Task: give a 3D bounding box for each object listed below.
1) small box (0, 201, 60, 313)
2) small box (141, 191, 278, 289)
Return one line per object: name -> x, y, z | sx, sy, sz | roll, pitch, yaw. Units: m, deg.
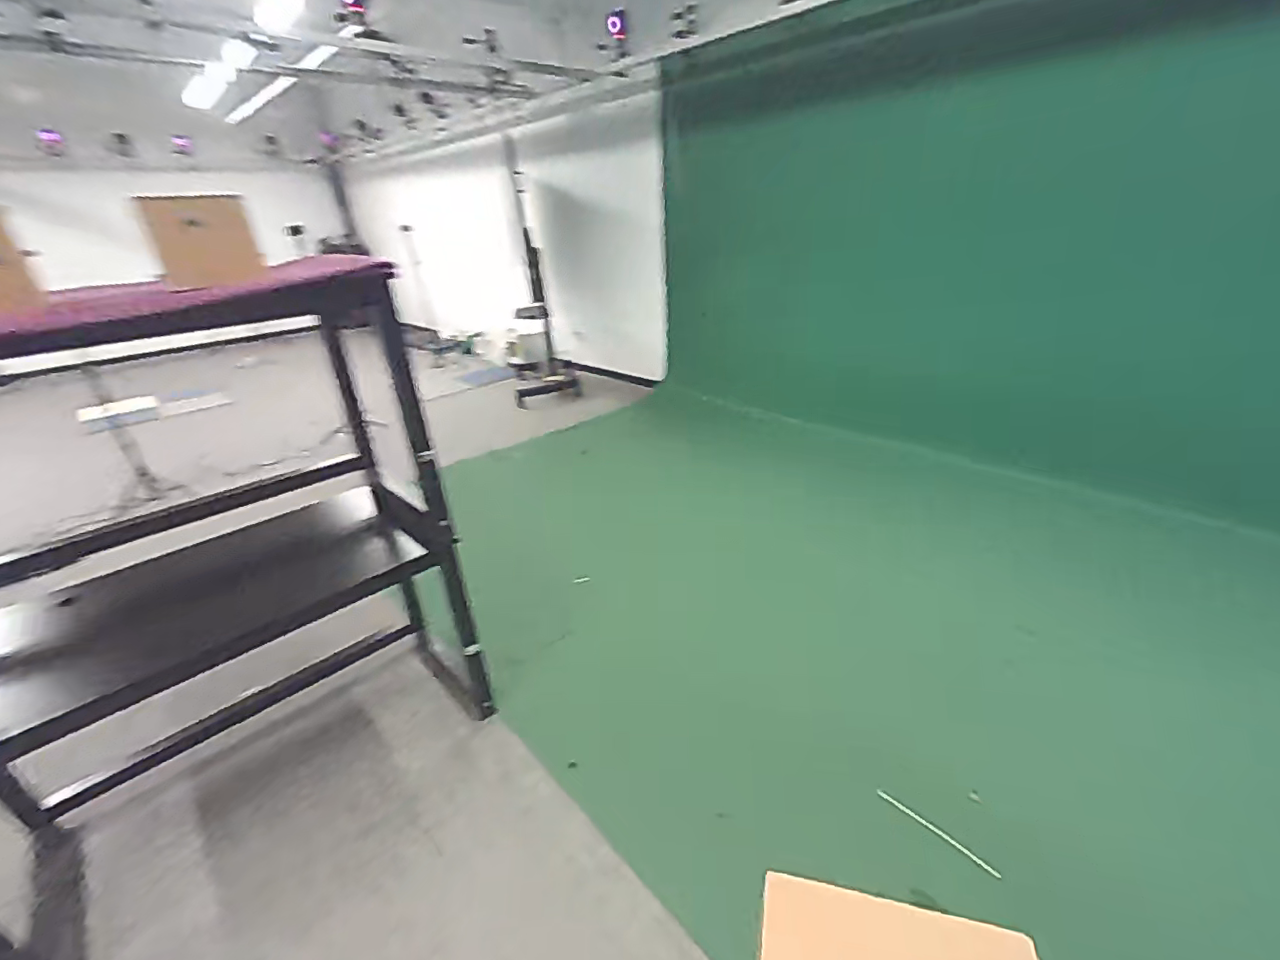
small box -> -1.137, -0.371, 0.914 | 0.179, 0.176, 0.168 | -27, 35, -37
small box -> -0.900, -0.500, 1.135 | 0.179, 0.176, 0.168 | -24, 31, -35
